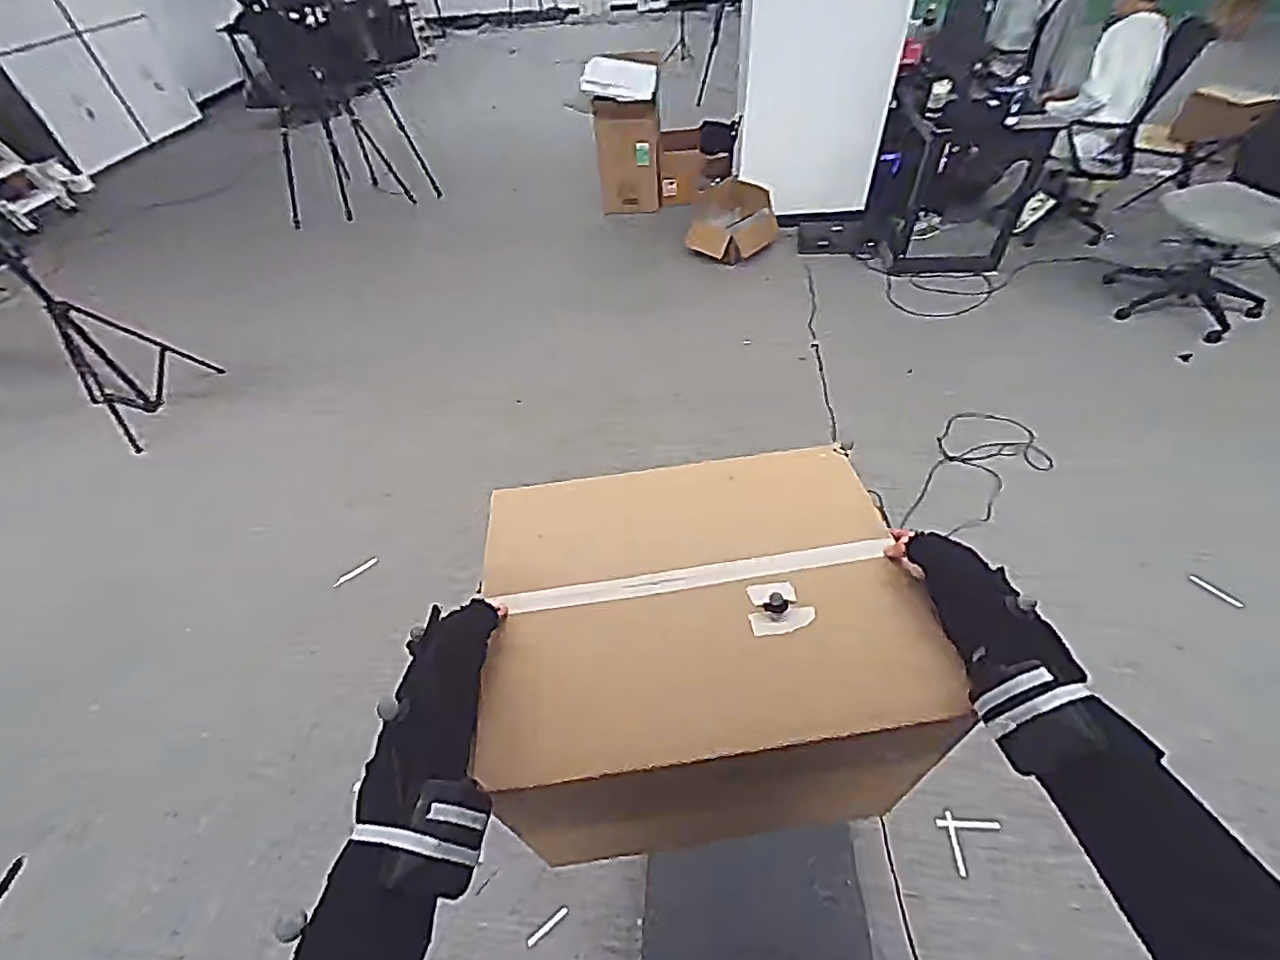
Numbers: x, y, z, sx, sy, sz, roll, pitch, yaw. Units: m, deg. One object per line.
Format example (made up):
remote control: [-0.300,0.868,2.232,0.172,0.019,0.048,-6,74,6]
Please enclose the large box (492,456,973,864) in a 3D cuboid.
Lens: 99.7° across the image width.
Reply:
large box: [0.068,0.210,0.638,0.408,0.320,0.320,-8,46,-2]
